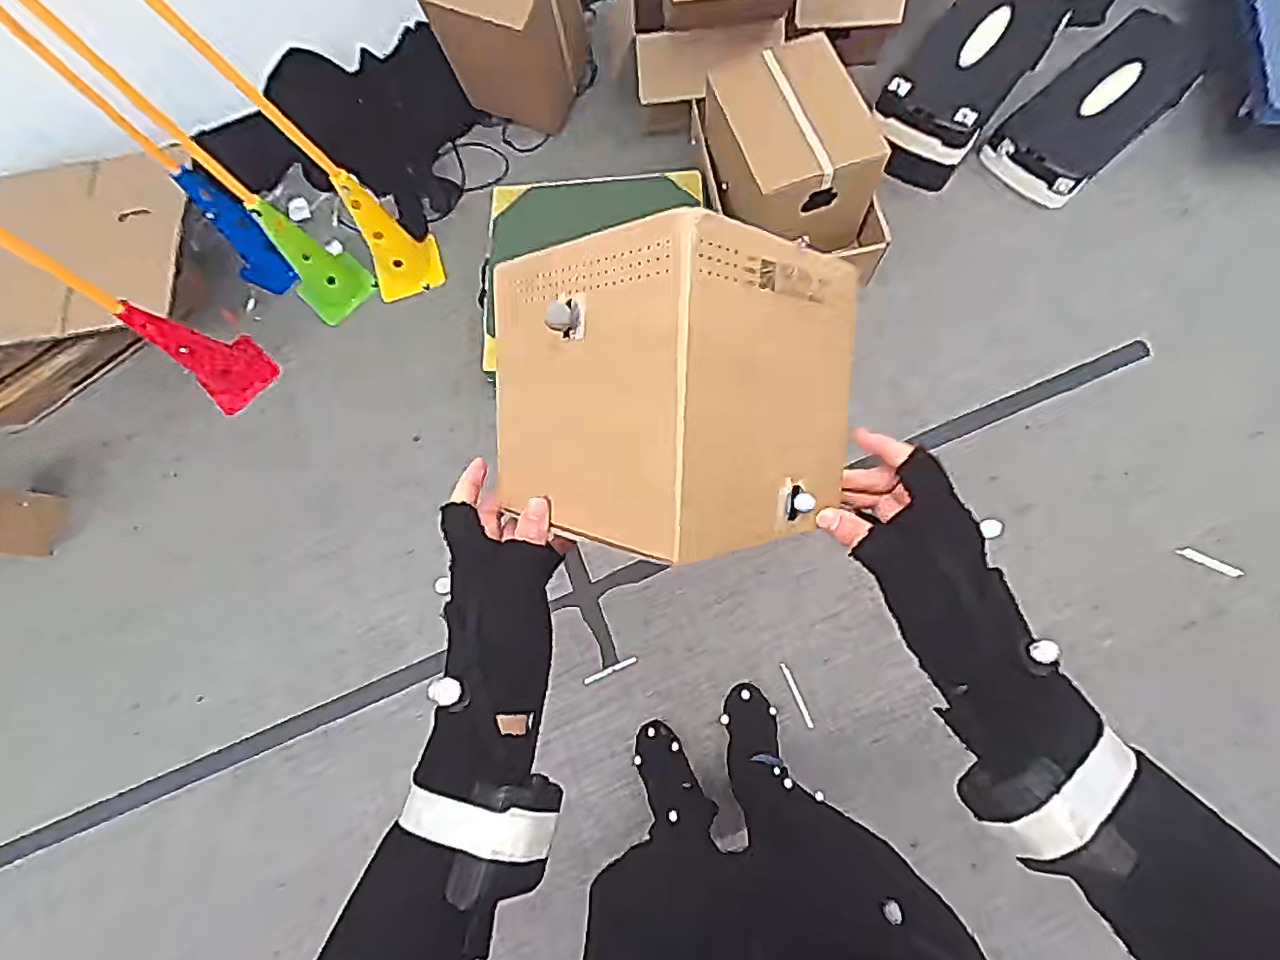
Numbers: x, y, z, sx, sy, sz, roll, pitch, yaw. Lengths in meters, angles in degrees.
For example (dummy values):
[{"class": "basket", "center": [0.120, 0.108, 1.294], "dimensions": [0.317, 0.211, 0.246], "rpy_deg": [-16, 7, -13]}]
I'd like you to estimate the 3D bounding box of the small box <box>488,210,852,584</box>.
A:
[{"class": "small box", "center": [0.014, -0.053, 0.349], "dimensions": [0.179, 0.168, 0.176], "rpy_deg": [12, 106, 49]}]
